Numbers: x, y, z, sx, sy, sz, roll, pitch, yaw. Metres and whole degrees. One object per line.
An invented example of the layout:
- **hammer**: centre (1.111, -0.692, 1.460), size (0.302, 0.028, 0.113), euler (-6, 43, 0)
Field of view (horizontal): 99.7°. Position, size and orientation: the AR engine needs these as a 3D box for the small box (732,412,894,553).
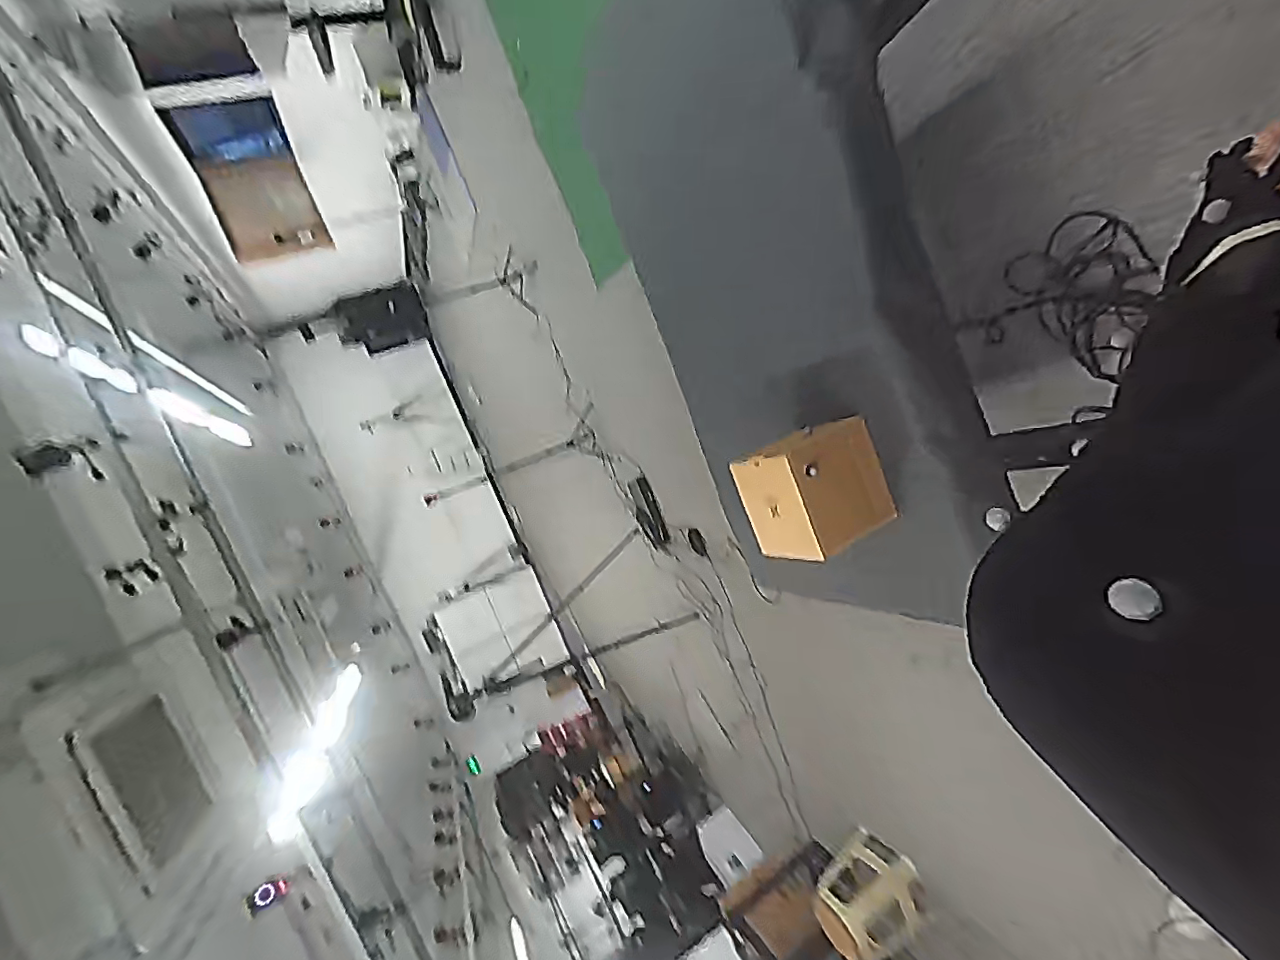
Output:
- **small box**: centre (0.291, 0.004, 0.911), size (0.179, 0.176, 0.168), euler (67, 159, -5)
